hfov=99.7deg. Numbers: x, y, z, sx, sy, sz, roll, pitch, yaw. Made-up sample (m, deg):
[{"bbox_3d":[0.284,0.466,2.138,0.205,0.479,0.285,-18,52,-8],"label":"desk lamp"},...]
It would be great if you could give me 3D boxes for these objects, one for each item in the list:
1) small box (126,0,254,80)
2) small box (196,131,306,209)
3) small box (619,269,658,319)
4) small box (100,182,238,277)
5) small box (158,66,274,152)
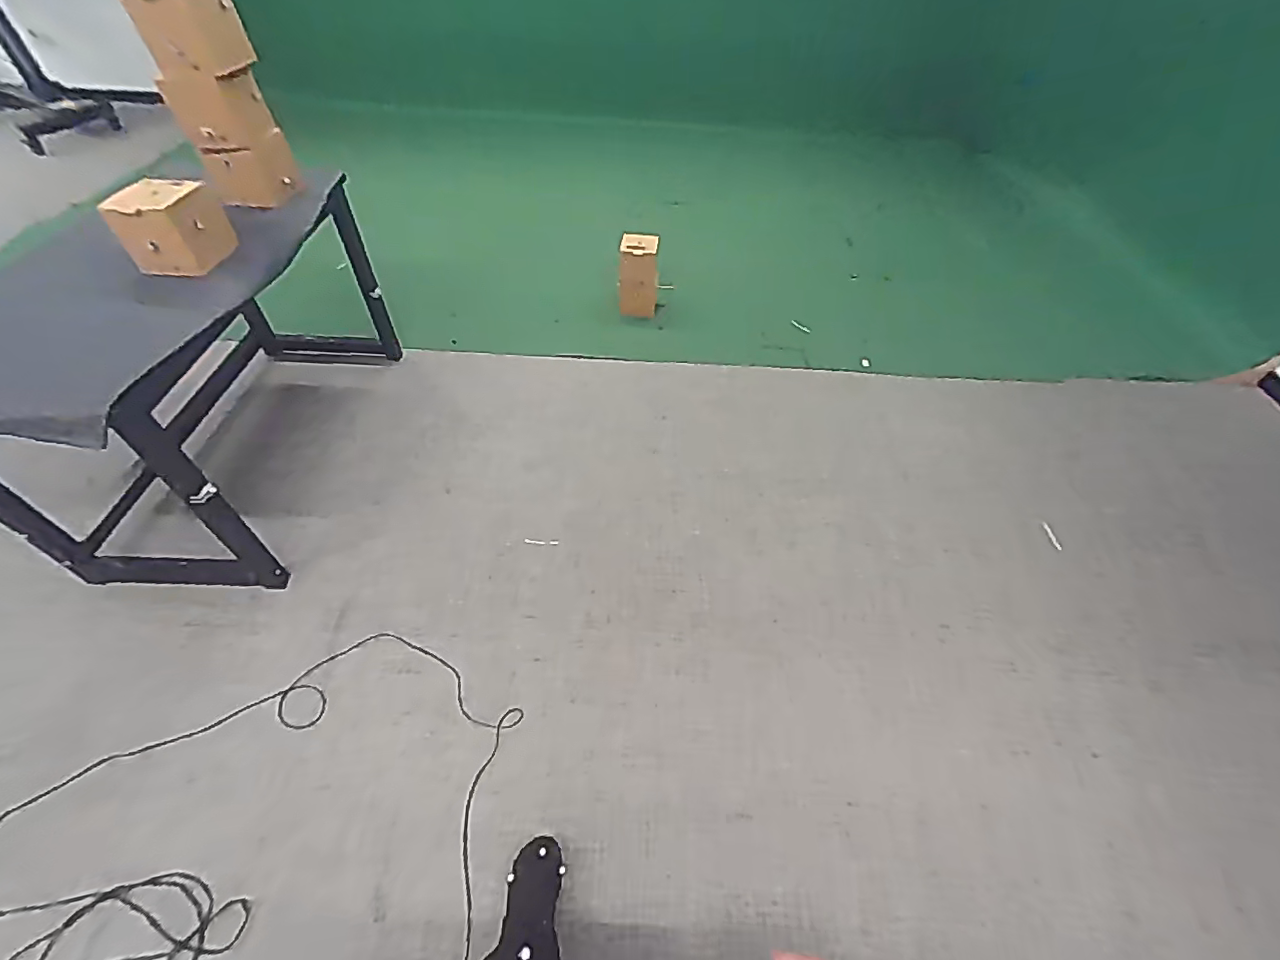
[{"bbox_3d":[-1.147,-1.158,1.395,0.168,0.176,0.179,2,50,4],"label":"small box"},{"bbox_3d":[-1.169,-0.943,1.641,0.179,0.176,0.168,6,50,4],"label":"small box"},{"bbox_3d":[-0.008,-0.909,2.651,0.179,0.176,0.168,6,49,2],"label":"small box"},{"bbox_3d":[-1.182,-0.636,1.379,0.168,0.176,0.179,3,50,1],"label":"small box"},{"bbox_3d":[-1.169,-1.041,1.512,0.168,0.176,0.179,-1,51,0],"label":"small box"}]
